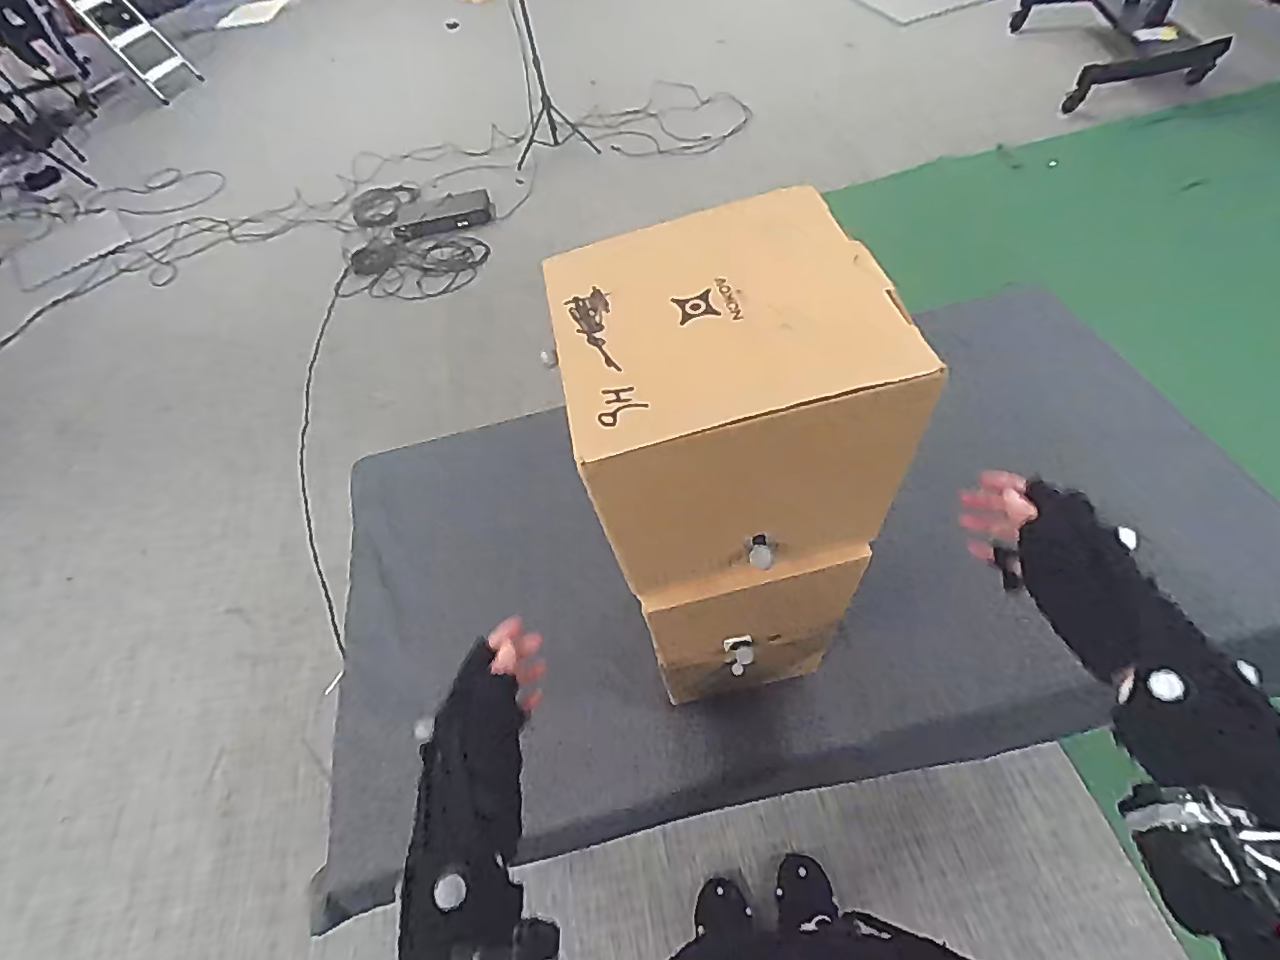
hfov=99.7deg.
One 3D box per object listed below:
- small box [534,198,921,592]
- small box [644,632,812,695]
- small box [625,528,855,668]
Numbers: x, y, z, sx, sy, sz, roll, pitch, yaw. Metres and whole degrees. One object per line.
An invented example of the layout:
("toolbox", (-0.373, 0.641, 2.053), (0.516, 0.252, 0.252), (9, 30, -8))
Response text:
("small box", (0.043, -0.045, 0.357), (0.179, 0.176, 0.168), (-14, 55, 1))
("small box", (0.092, 0.134, 0.623), (0.179, 0.176, 0.168), (-13, 56, 0))
("small box", (0.068, 0.047, 0.488), (0.168, 0.176, 0.179), (-14, 56, 2))
